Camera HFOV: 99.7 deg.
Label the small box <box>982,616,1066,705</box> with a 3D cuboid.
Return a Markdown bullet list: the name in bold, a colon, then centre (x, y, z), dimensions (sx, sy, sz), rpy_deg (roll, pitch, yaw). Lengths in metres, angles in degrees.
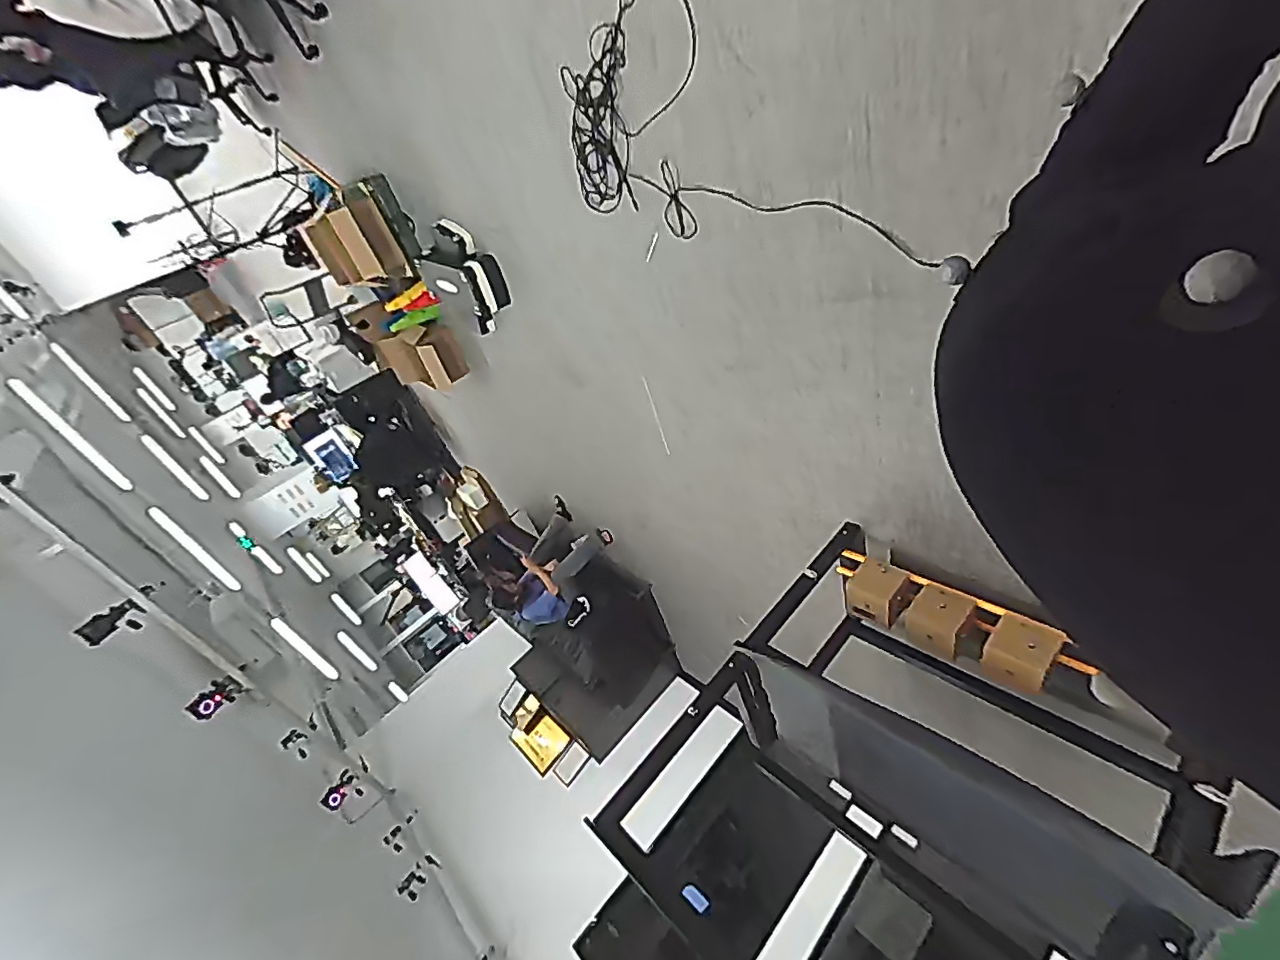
- **small box**: centre (1.226, 0.569, 1.726), dimensions (0.168, 0.176, 0.179), rpy_deg (24, 143, 44)

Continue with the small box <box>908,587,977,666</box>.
- **small box**: centre (1.064, 0.508, 1.901), dimensions (0.168, 0.176, 0.179), rpy_deg (22, 141, 45)
